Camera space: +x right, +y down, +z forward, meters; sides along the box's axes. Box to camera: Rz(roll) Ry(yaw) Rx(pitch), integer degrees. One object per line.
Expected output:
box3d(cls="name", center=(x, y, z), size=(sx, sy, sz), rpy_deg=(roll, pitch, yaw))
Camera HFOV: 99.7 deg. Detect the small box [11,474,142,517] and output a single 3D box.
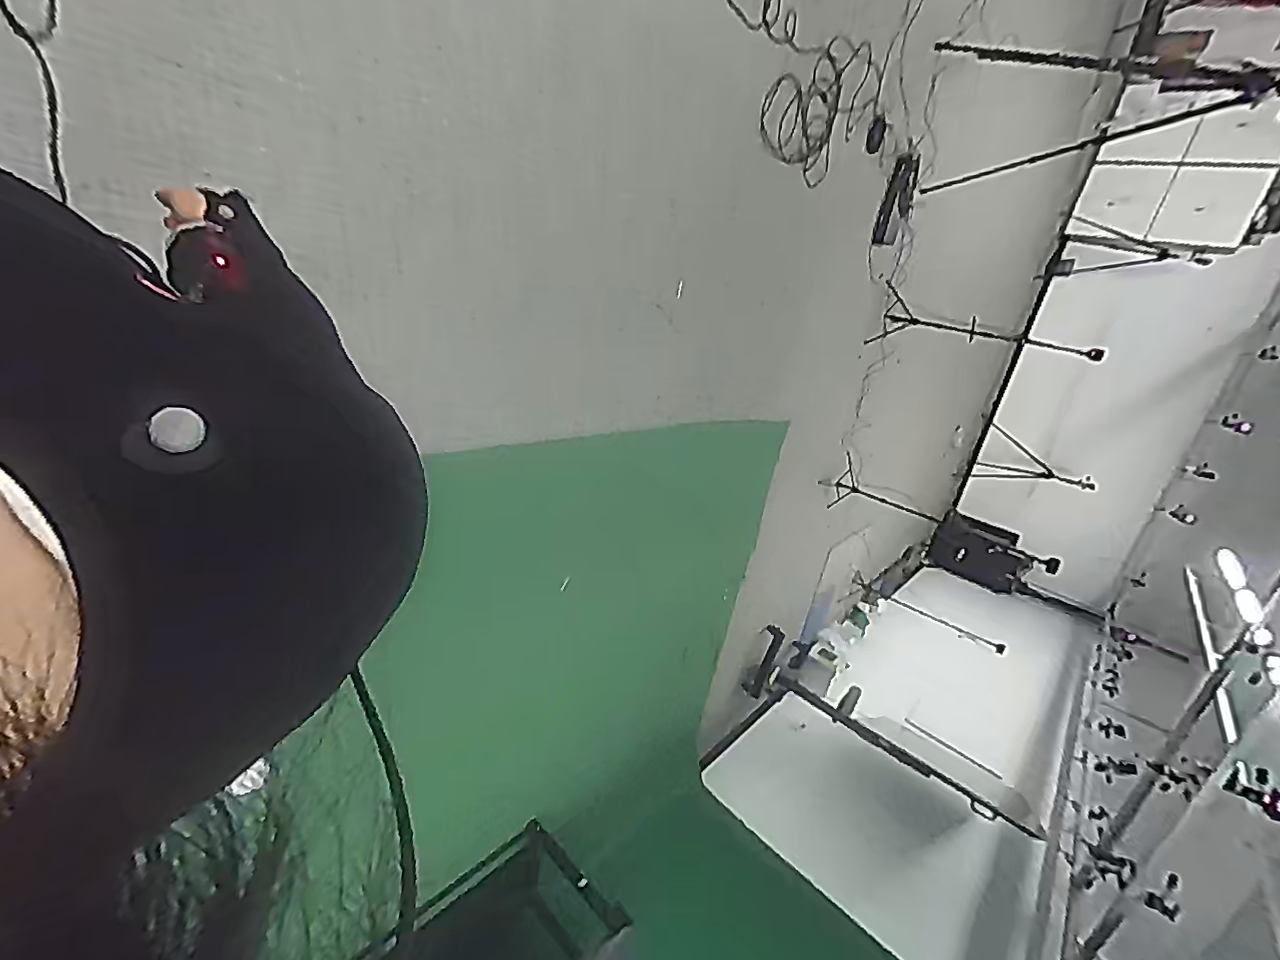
box3d(cls="small box", center=(-1.083, 0.094, 1.048), size=(0.168, 0.176, 0.179), rpy_deg=(-9, 117, -47))
